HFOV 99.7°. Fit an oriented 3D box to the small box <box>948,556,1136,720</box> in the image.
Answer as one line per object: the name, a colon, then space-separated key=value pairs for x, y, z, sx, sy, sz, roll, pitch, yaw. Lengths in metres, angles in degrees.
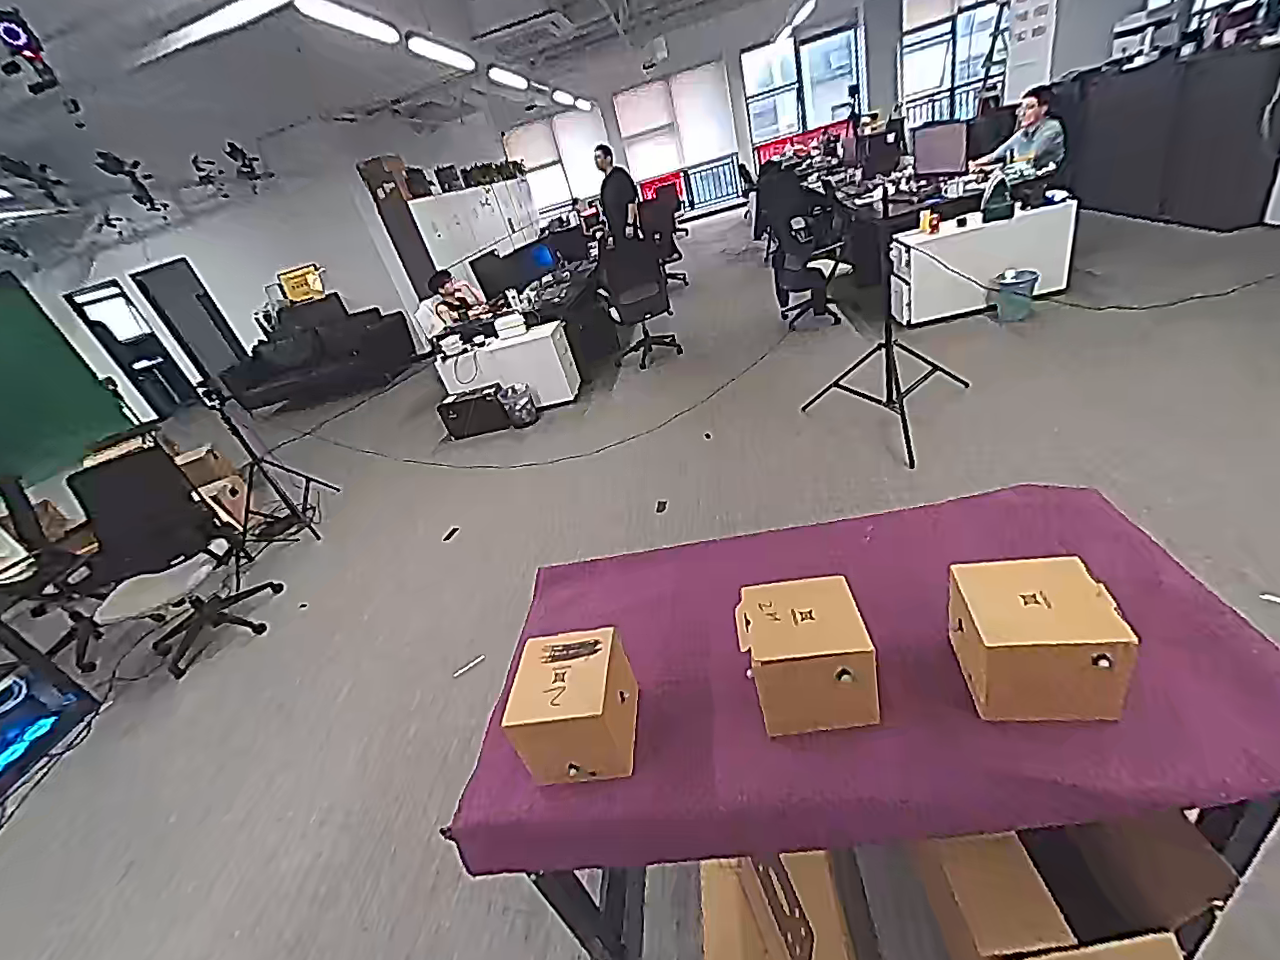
small box: x=0.577 y=0.235 z=0.804 sx=0.179 sy=0.176 sz=0.168 roll=-8 pitch=31 yaw=16

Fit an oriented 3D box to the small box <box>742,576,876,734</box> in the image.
small box: x=0.272 y=0.285 z=0.880 sx=0.179 sy=0.176 sz=0.168 roll=-12 pitch=28 yaw=10
